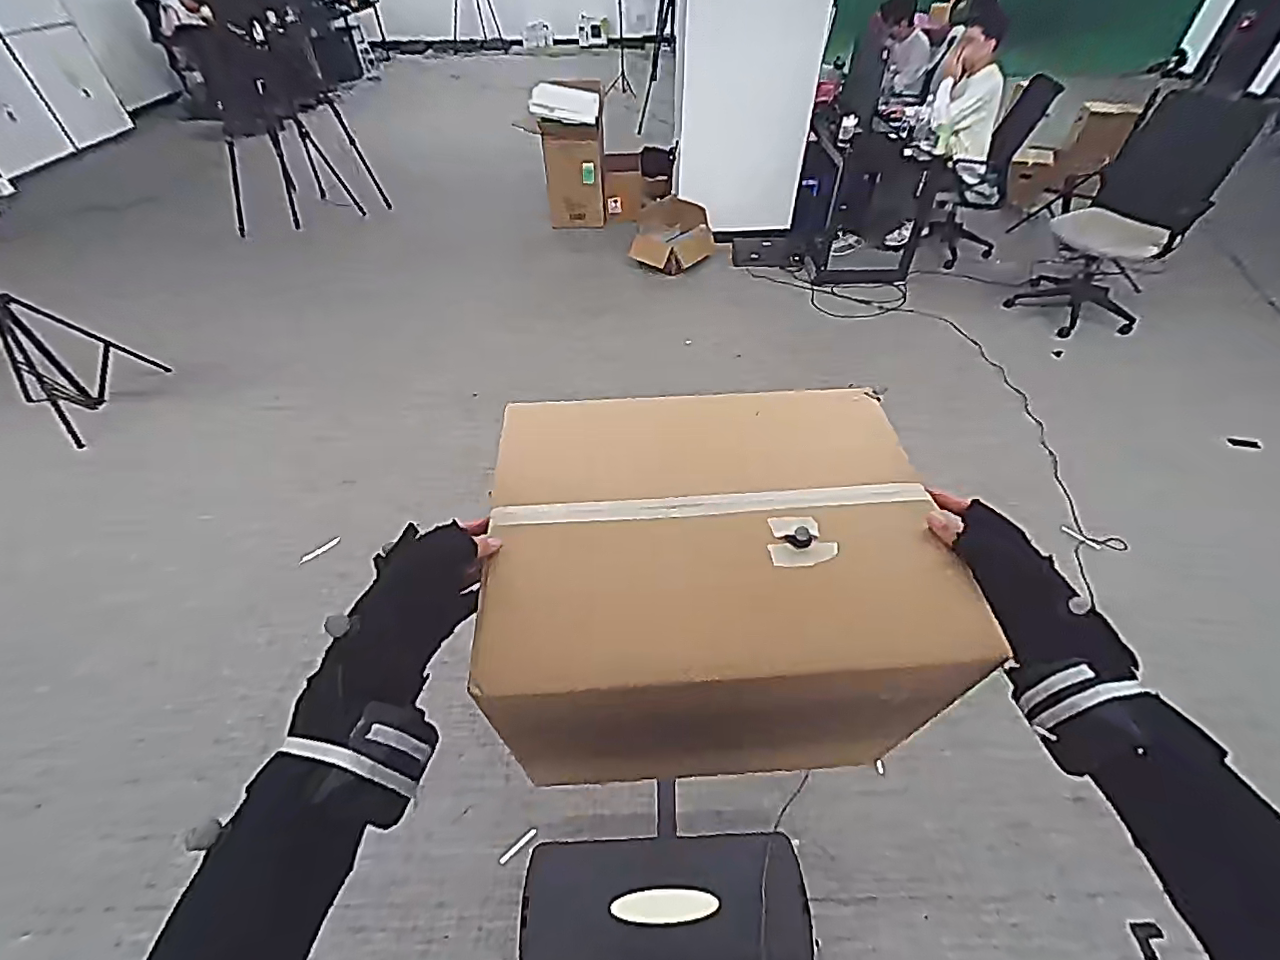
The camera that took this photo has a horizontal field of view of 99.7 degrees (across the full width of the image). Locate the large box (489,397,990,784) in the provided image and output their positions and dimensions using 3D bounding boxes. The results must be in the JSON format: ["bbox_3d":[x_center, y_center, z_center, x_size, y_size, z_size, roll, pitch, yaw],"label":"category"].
[{"bbox_3d":[0.067,0.129,0.622,0.408,0.320,0.320,-3,50,-3],"label":"large box"}]
